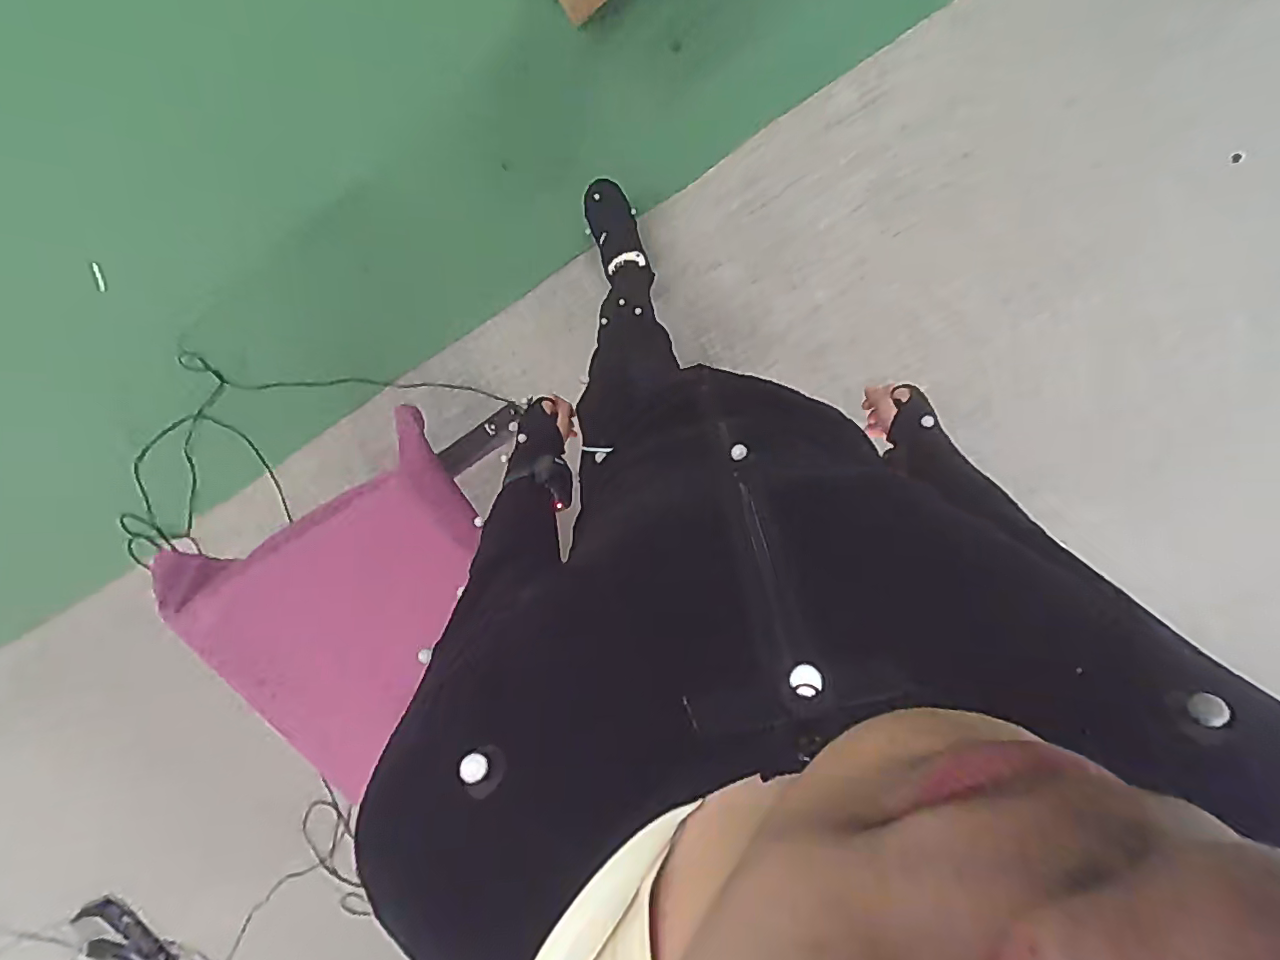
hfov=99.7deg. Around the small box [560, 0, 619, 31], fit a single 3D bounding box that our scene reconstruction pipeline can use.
[{"bbox_3d":[-0.122,-1.154,1.184,0.179,0.176,0.168,-33,103,13],"label":"small box"}]
